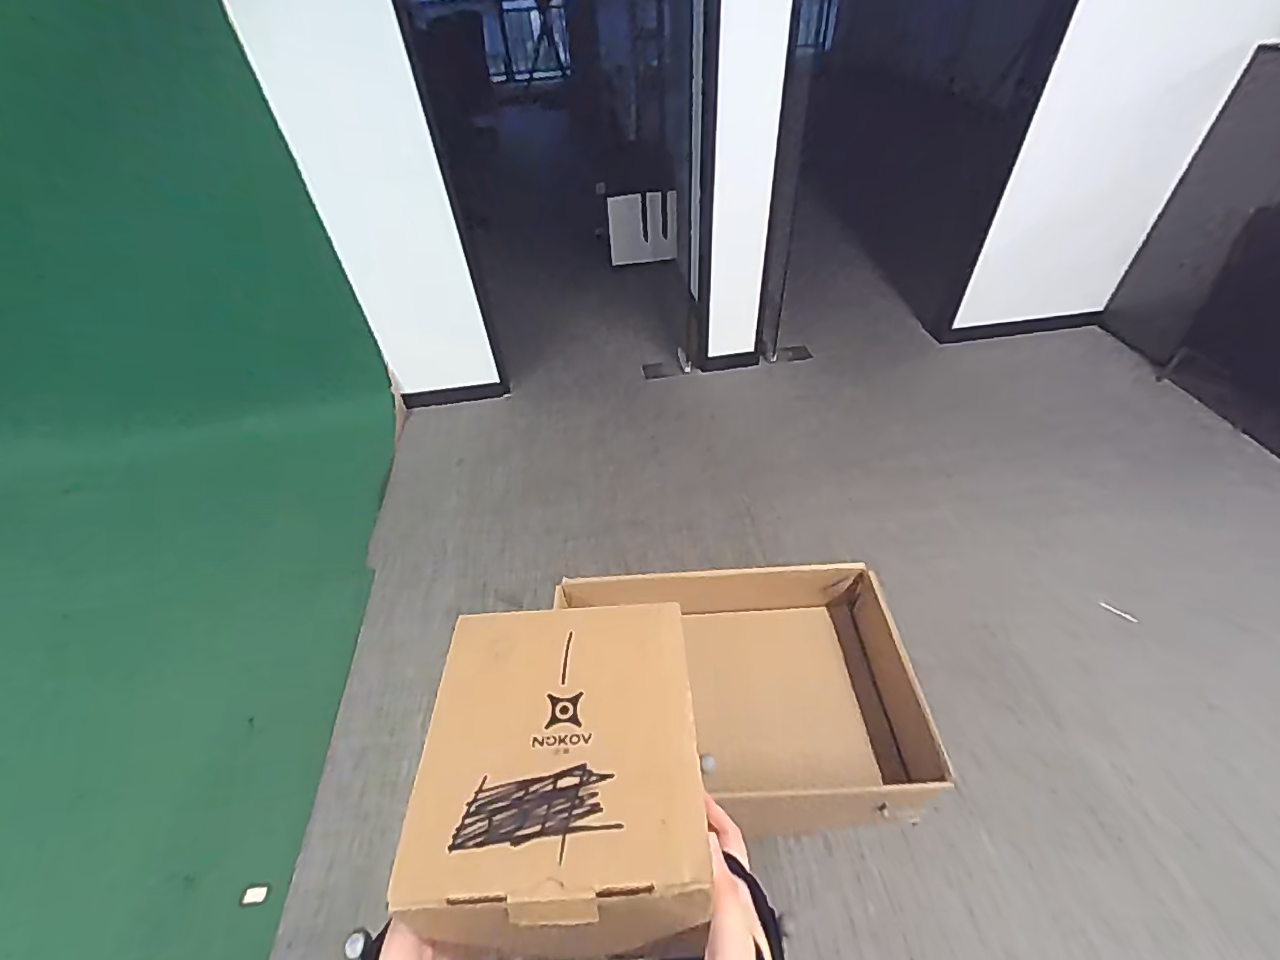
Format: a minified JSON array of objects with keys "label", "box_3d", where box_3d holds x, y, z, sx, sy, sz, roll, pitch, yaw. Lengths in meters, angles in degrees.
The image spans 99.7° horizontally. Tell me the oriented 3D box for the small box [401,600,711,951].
[{"label":"small box","box_3d":[-0.042,0.212,0.390,0.168,0.176,0.179,-3,38,-1]}]
